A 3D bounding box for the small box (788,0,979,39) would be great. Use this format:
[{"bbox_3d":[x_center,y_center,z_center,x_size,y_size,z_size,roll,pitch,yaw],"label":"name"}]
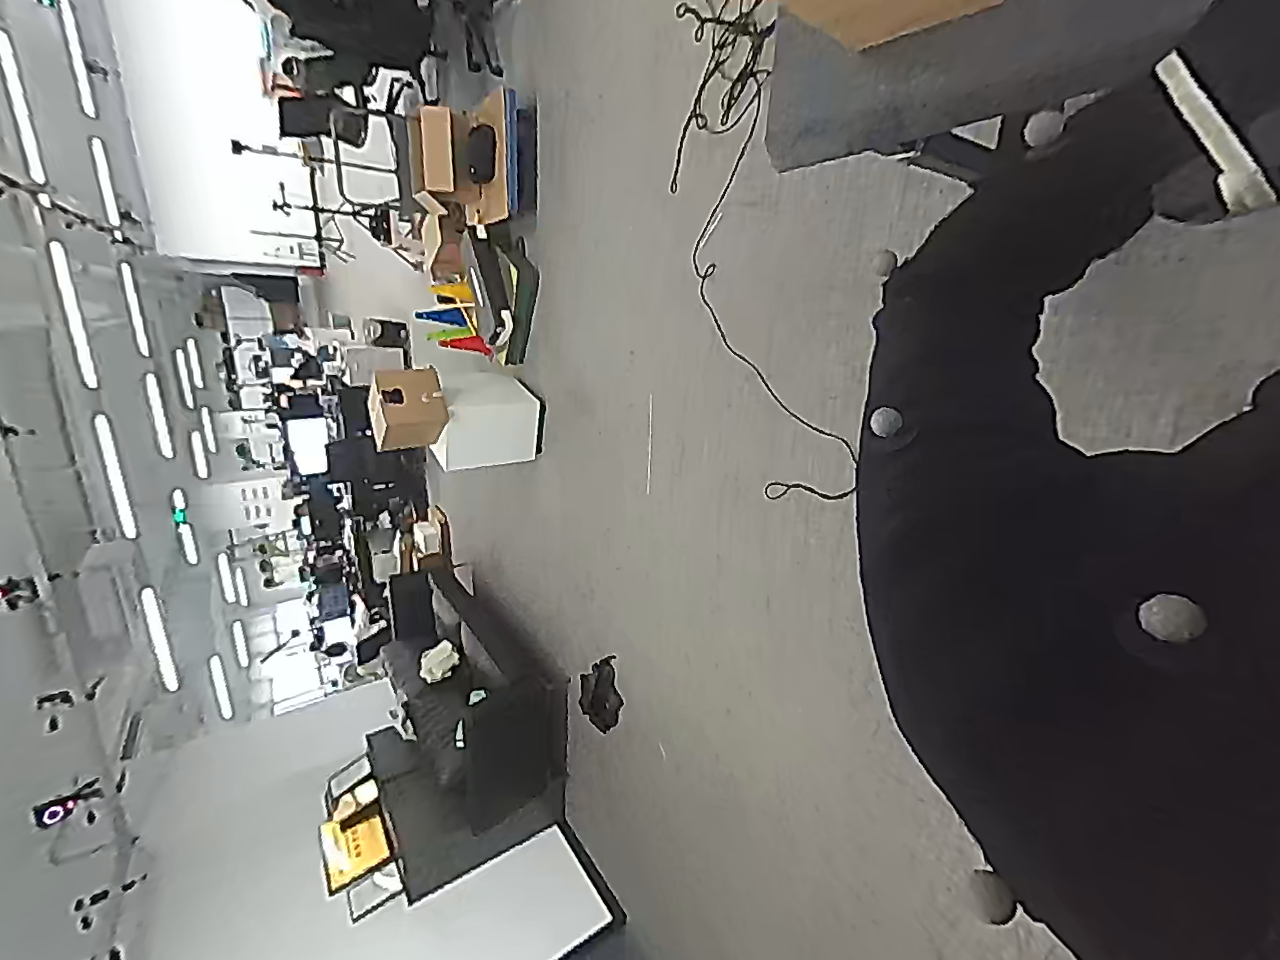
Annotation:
[{"bbox_3d":[0.268,-0.589,0.543,0.179,0.176,0.168,28,119,49],"label":"small box"}]
